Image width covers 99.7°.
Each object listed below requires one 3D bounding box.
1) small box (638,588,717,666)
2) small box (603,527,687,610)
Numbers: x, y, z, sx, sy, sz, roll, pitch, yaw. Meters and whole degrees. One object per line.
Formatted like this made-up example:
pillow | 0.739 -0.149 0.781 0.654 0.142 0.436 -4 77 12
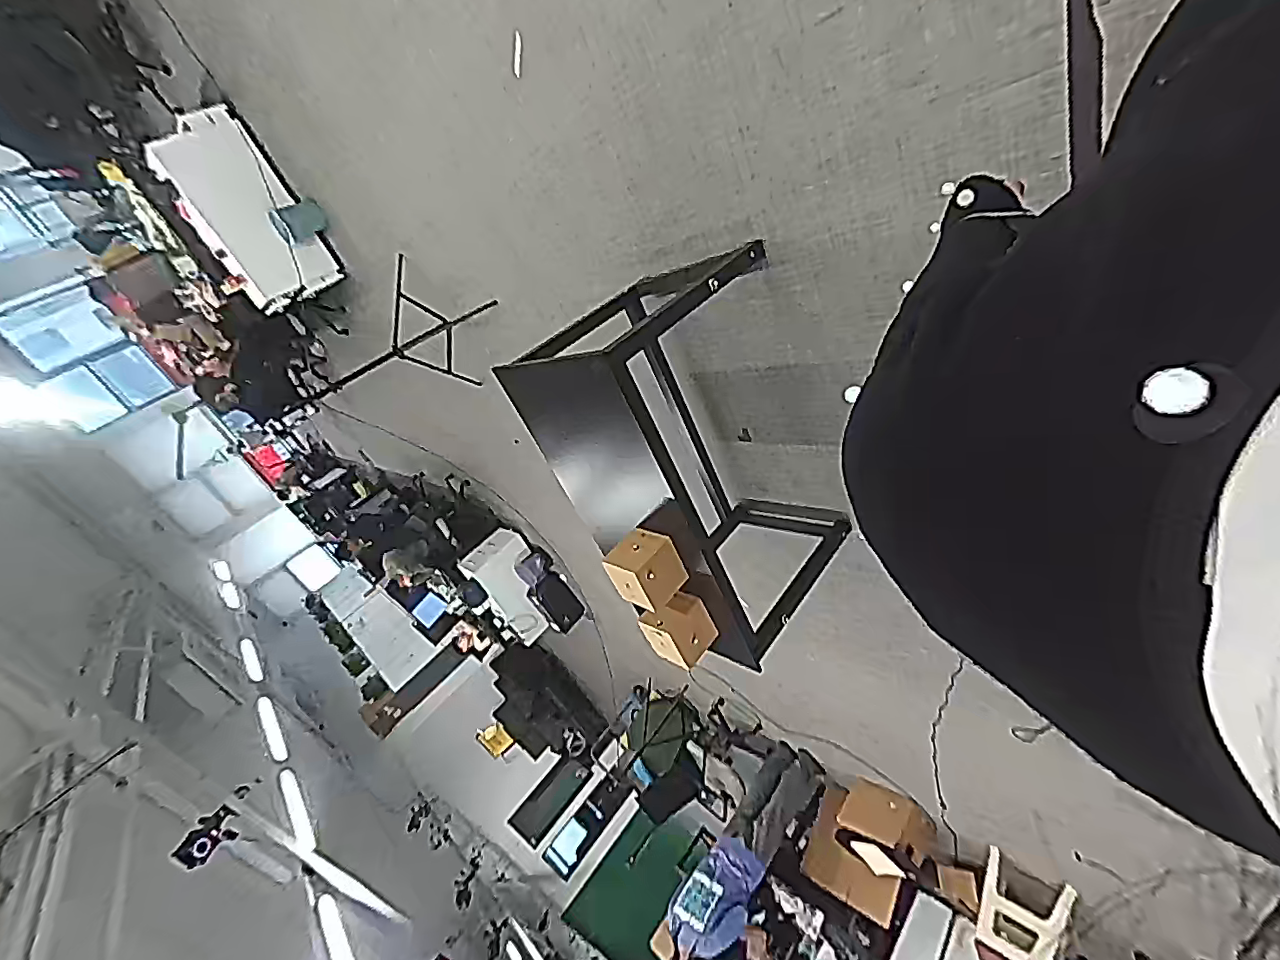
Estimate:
small box | 0.132 0.488 1.829 0.168 0.176 0.179 6 132 51
small box | 0.020 0.272 1.706 0.168 0.176 0.179 11 136 49
